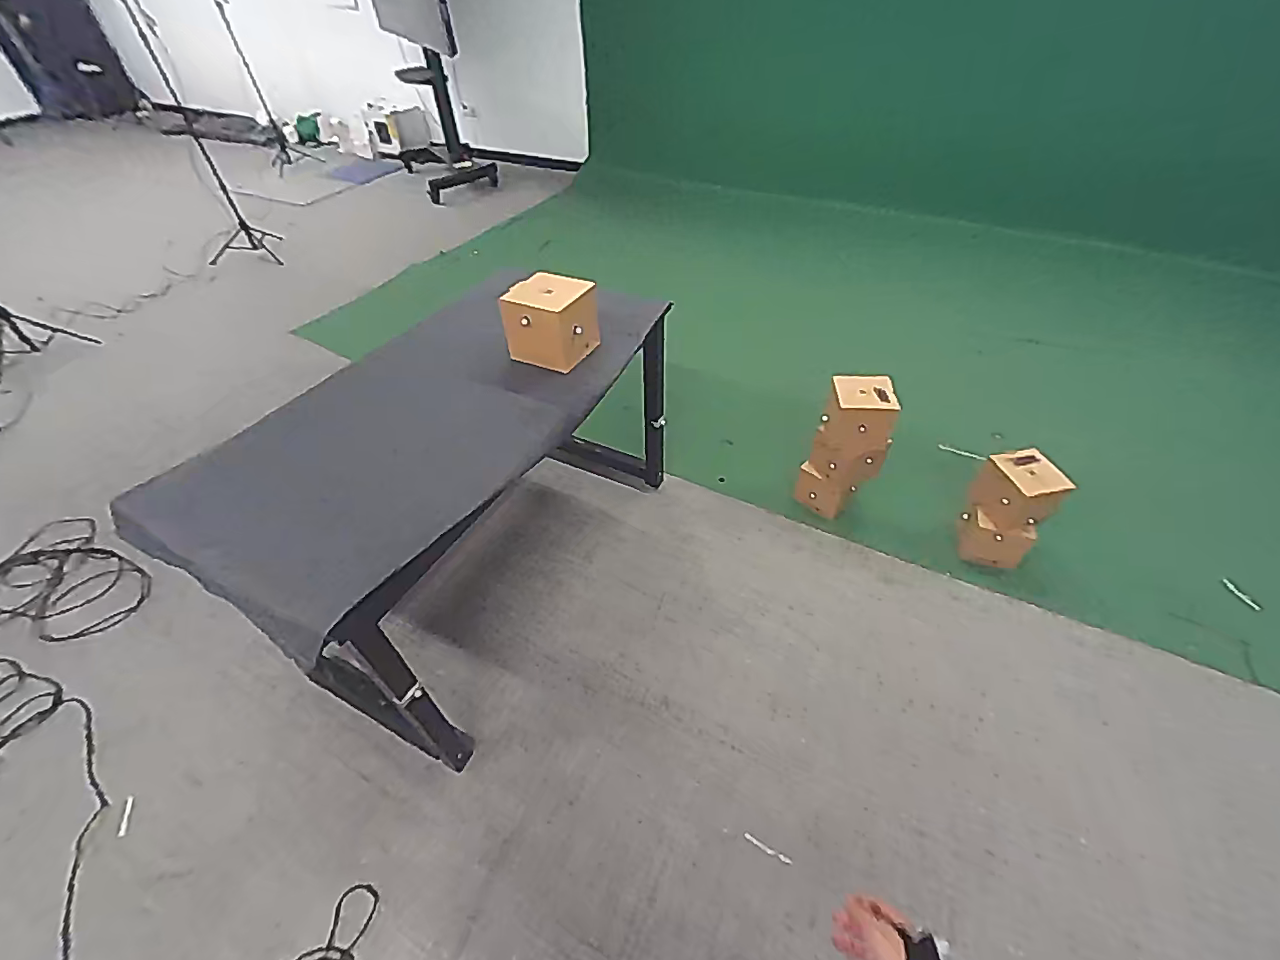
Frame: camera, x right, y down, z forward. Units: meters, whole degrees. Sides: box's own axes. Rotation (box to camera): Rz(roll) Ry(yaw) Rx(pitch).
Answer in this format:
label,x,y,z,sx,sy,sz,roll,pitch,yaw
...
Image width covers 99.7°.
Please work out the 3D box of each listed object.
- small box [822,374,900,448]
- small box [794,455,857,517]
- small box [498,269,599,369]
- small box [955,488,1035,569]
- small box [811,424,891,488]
label,x,y,z,sx,sy,sz,roll,pitch,yaw
small box,0.688,-0.214,1.703,0.179,0.176,0.168,3,47,5
small box,0.676,0.002,1.949,0.168,0.176,0.179,35,56,29
small box,-0.217,-0.396,1.342,0.179,0.176,0.168,19,49,21
small box,1.160,0.160,1.783,0.168,0.176,0.179,14,47,14
small box,0.698,-0.096,1.818,0.179,0.176,0.168,-18,50,-17
